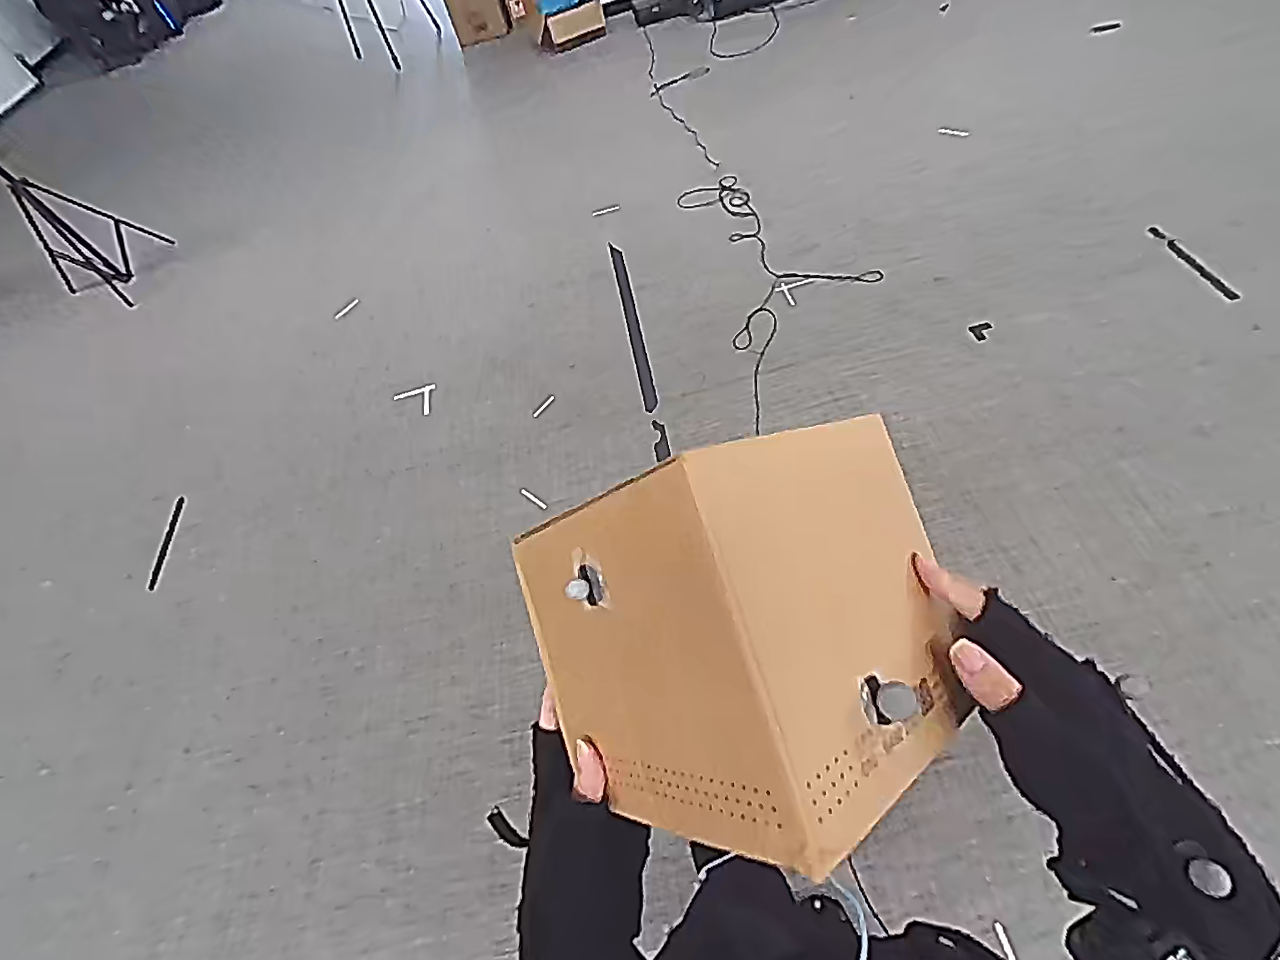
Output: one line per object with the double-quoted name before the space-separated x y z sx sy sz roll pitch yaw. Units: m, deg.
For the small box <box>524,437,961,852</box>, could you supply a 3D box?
"small box" 0.054 0.089 0.335 0.168 0.179 0.176 -12 81 -39
